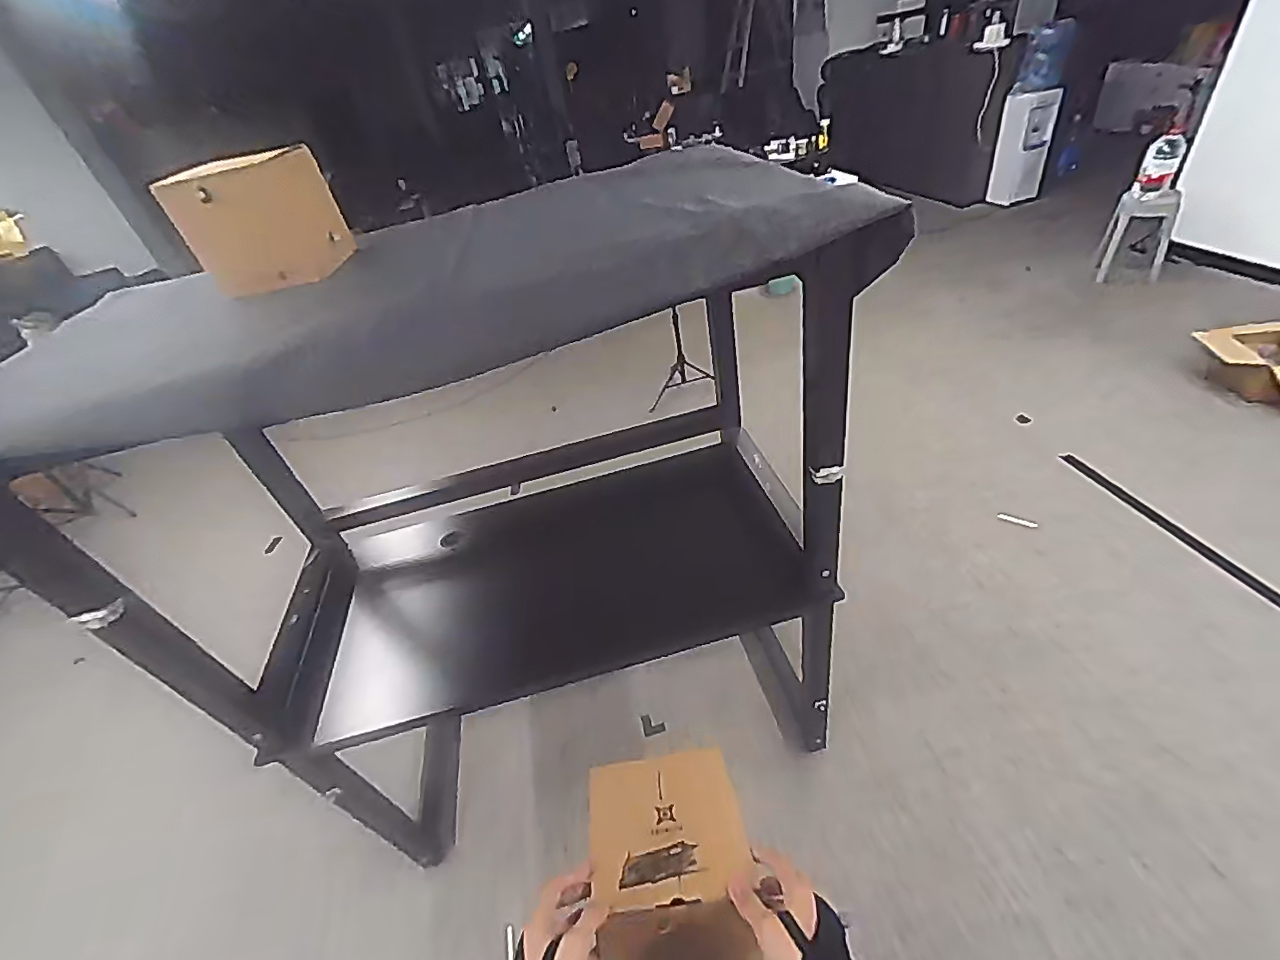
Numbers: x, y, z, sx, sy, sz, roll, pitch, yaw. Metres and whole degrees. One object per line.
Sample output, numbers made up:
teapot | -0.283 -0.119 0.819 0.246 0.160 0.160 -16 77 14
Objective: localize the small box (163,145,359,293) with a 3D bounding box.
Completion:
small box | -0.584 -0.419 0.868 0.168 0.176 0.179 -12 38 1

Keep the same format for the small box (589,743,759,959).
small box | 0.034 0.441 0.616 0.168 0.176 0.179 -6 19 -4
